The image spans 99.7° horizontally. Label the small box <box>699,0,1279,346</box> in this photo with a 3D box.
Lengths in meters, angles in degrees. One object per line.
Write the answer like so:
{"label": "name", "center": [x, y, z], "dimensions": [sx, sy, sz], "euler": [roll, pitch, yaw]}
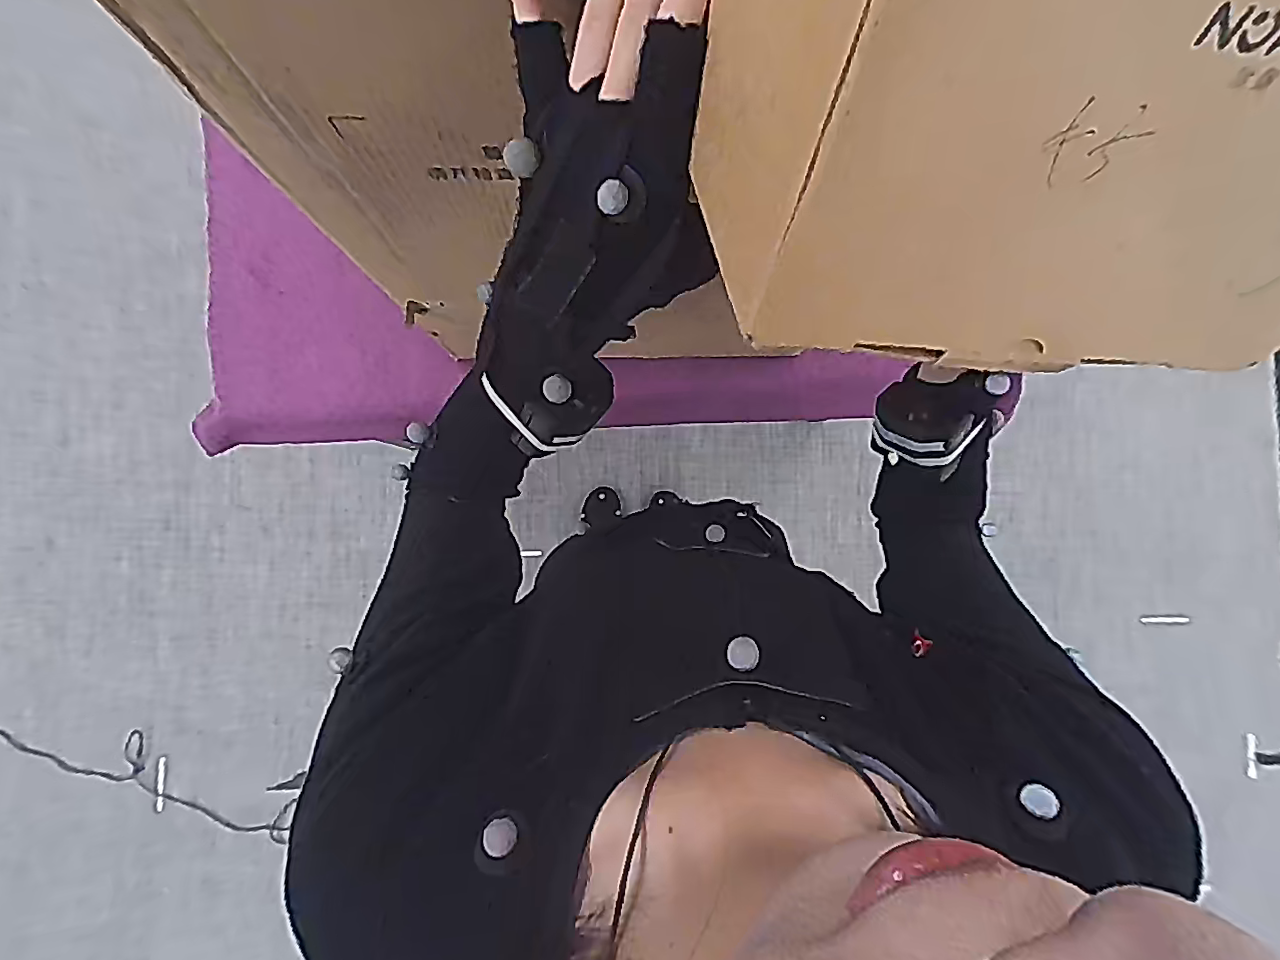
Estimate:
{"label": "small box", "center": [0.116, -0.159, 0.134], "dimensions": [0.168, 0.179, 0.176], "euler": [1, 52, -9]}
